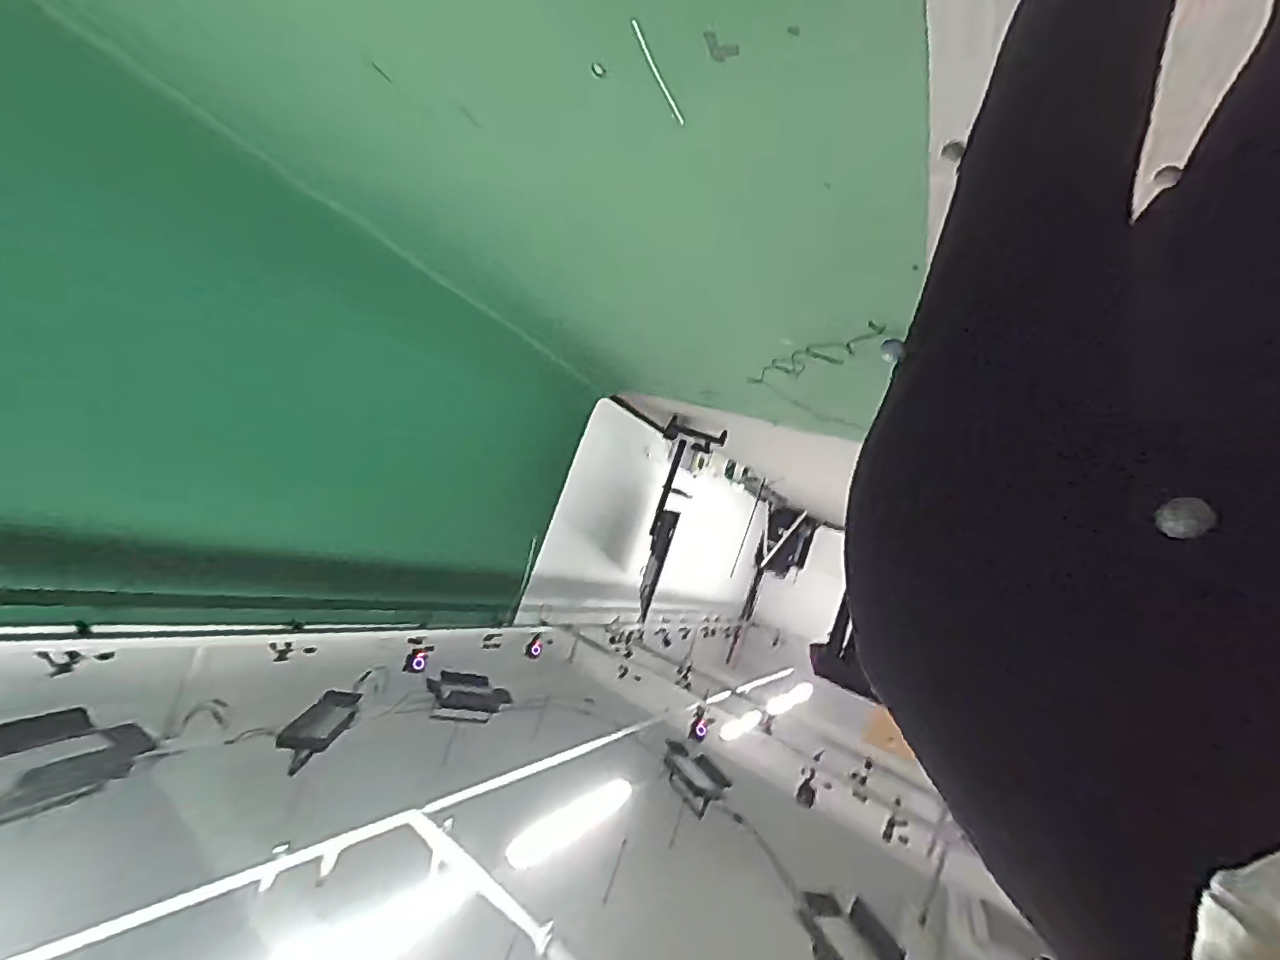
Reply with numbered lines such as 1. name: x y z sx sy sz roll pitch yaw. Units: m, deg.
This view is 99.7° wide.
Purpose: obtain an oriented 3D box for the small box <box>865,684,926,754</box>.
1. small box: 0.975 0.904 2.060 0.179 0.176 0.168 18 177 28
